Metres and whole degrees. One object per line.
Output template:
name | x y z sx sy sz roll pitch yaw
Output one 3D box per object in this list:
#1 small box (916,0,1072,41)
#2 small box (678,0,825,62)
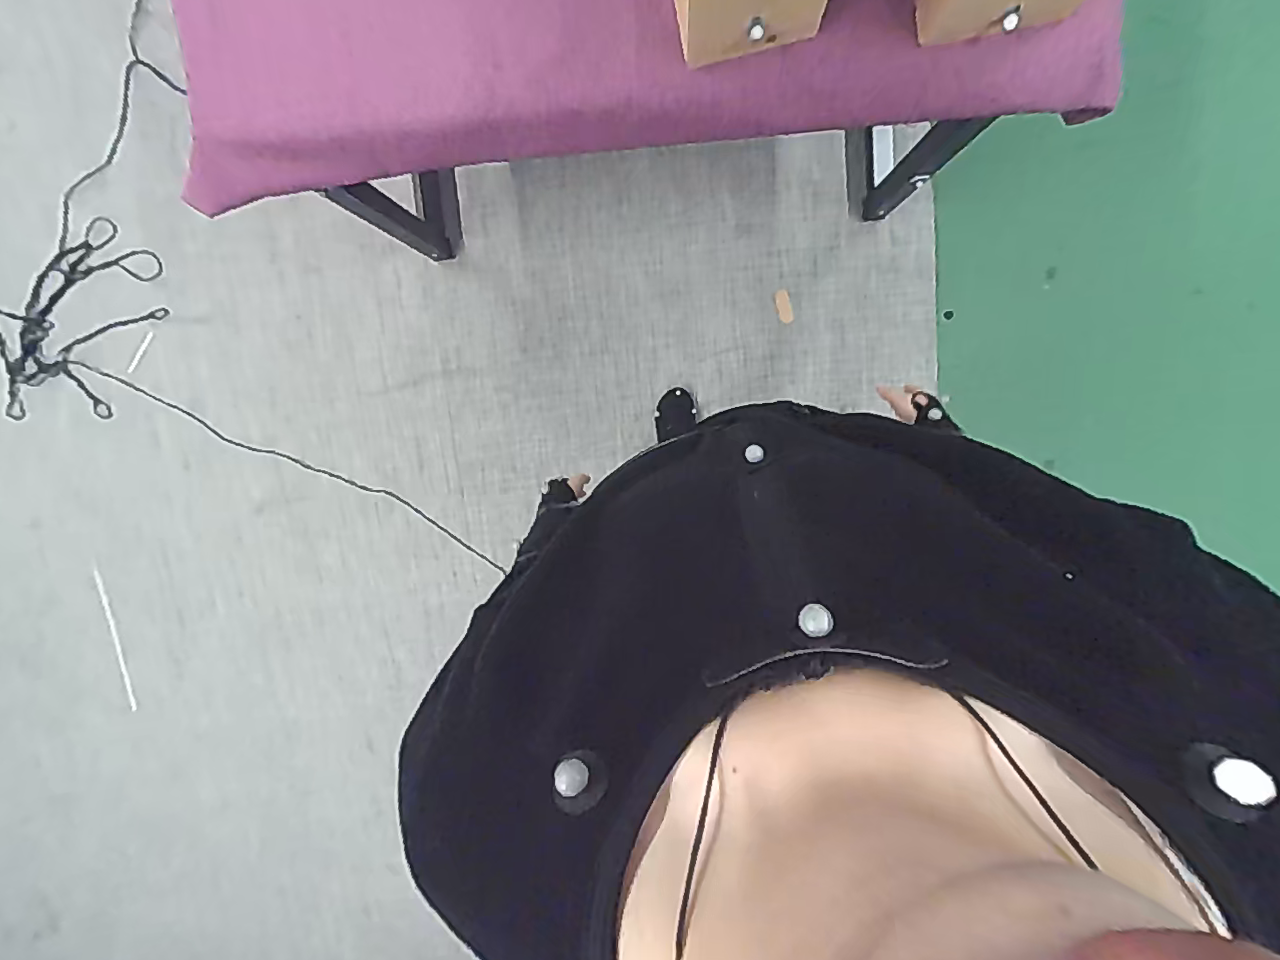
small box | 0.415 -0.618 0.573 0.179 0.176 0.168 -8 97 6
small box | 0.118 -0.619 0.595 0.168 0.176 0.179 -11 97 6
